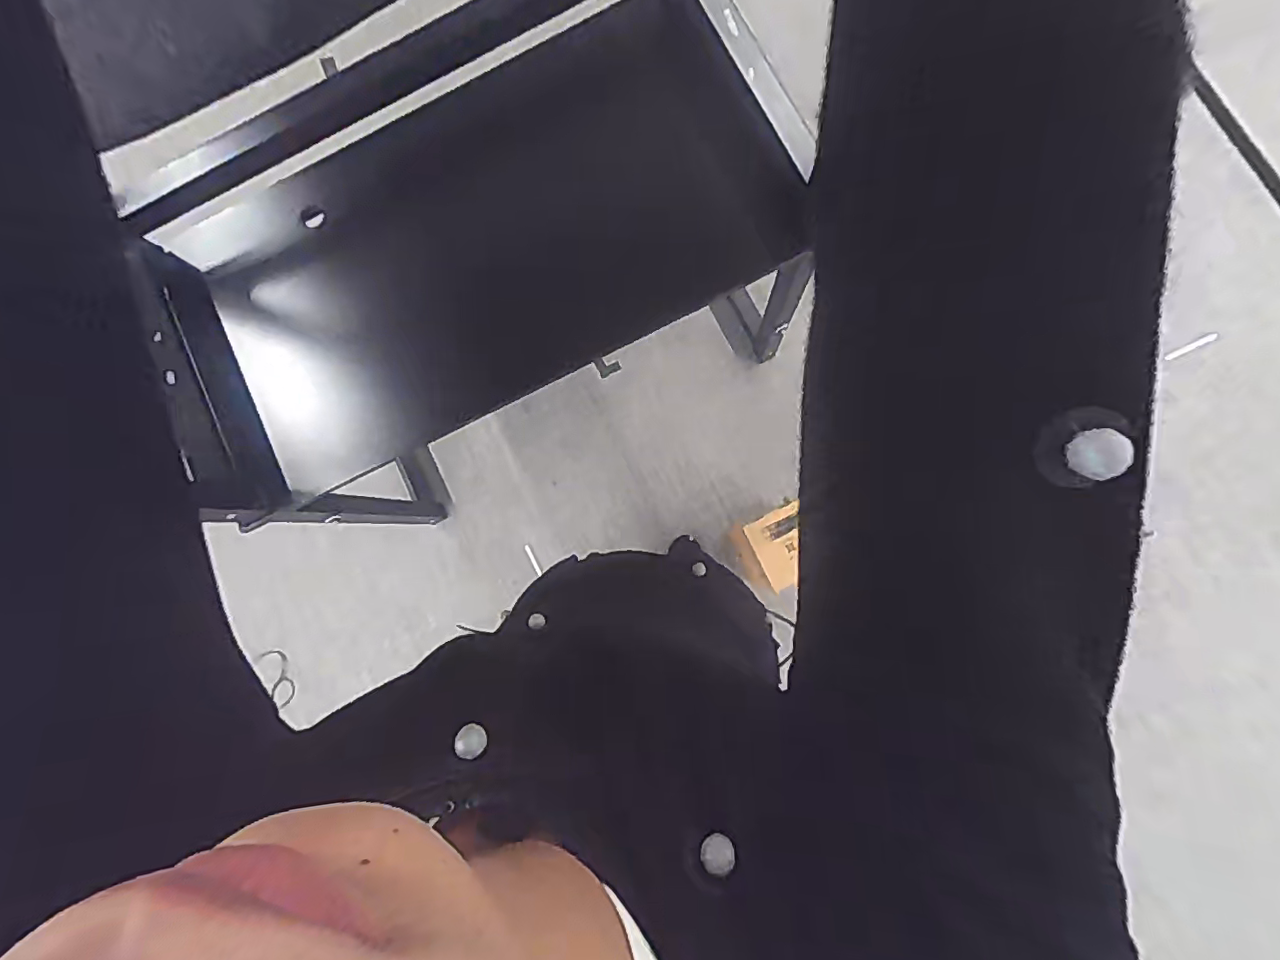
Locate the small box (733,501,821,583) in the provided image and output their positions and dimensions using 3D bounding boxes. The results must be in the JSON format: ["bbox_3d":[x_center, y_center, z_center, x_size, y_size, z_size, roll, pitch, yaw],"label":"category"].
[{"bbox_3d":[0.375,0.170,1.520,0.179,0.176,0.168,-28,83,3],"label":"small box"}]
